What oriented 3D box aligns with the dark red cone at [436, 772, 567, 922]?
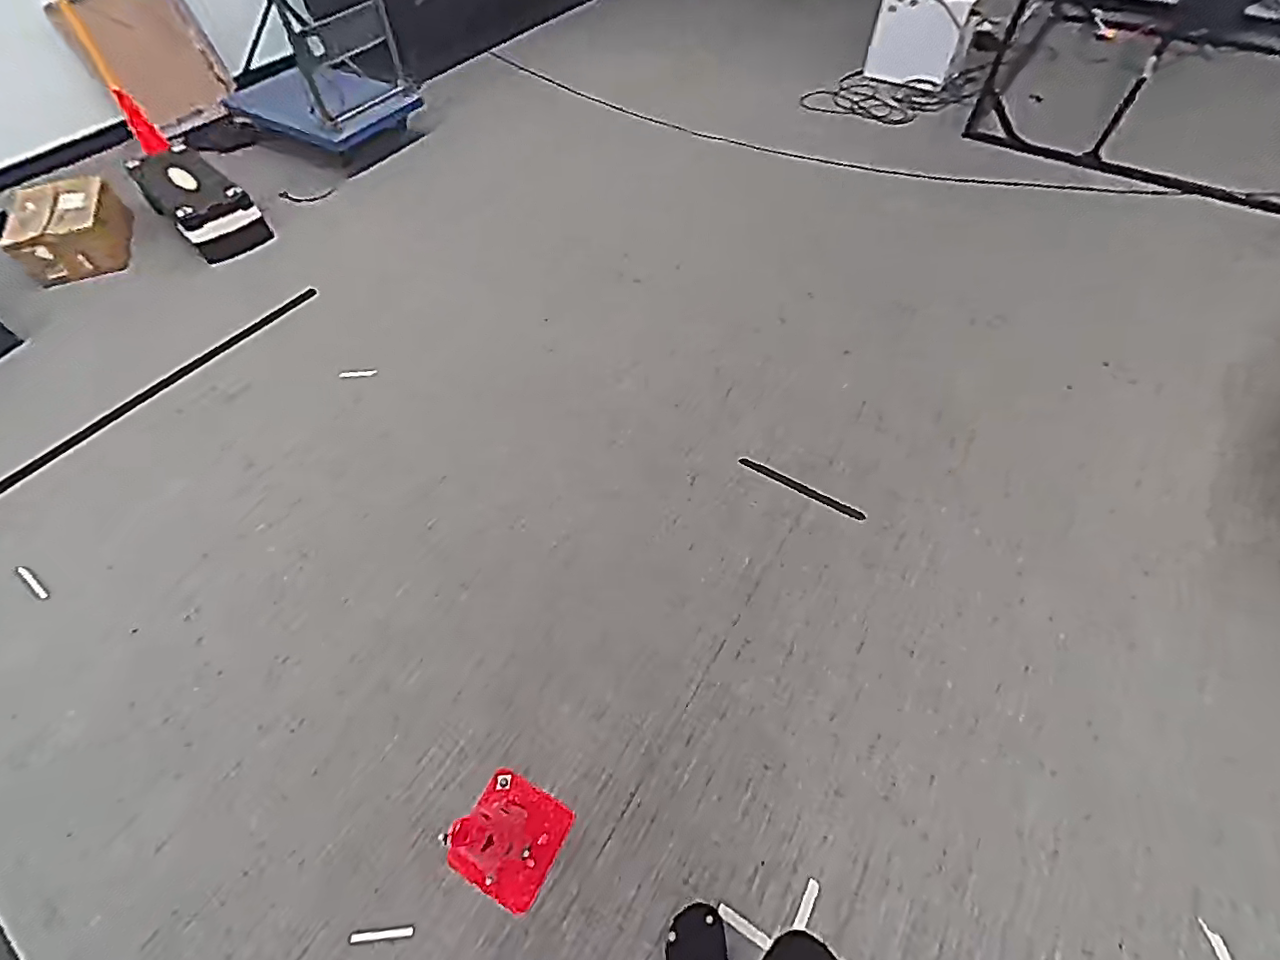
[{"bbox_3d":[-0.272,0.632,0.941,0.202,0.394,0.201,22,60,16],"label":"dark red cone"}]
